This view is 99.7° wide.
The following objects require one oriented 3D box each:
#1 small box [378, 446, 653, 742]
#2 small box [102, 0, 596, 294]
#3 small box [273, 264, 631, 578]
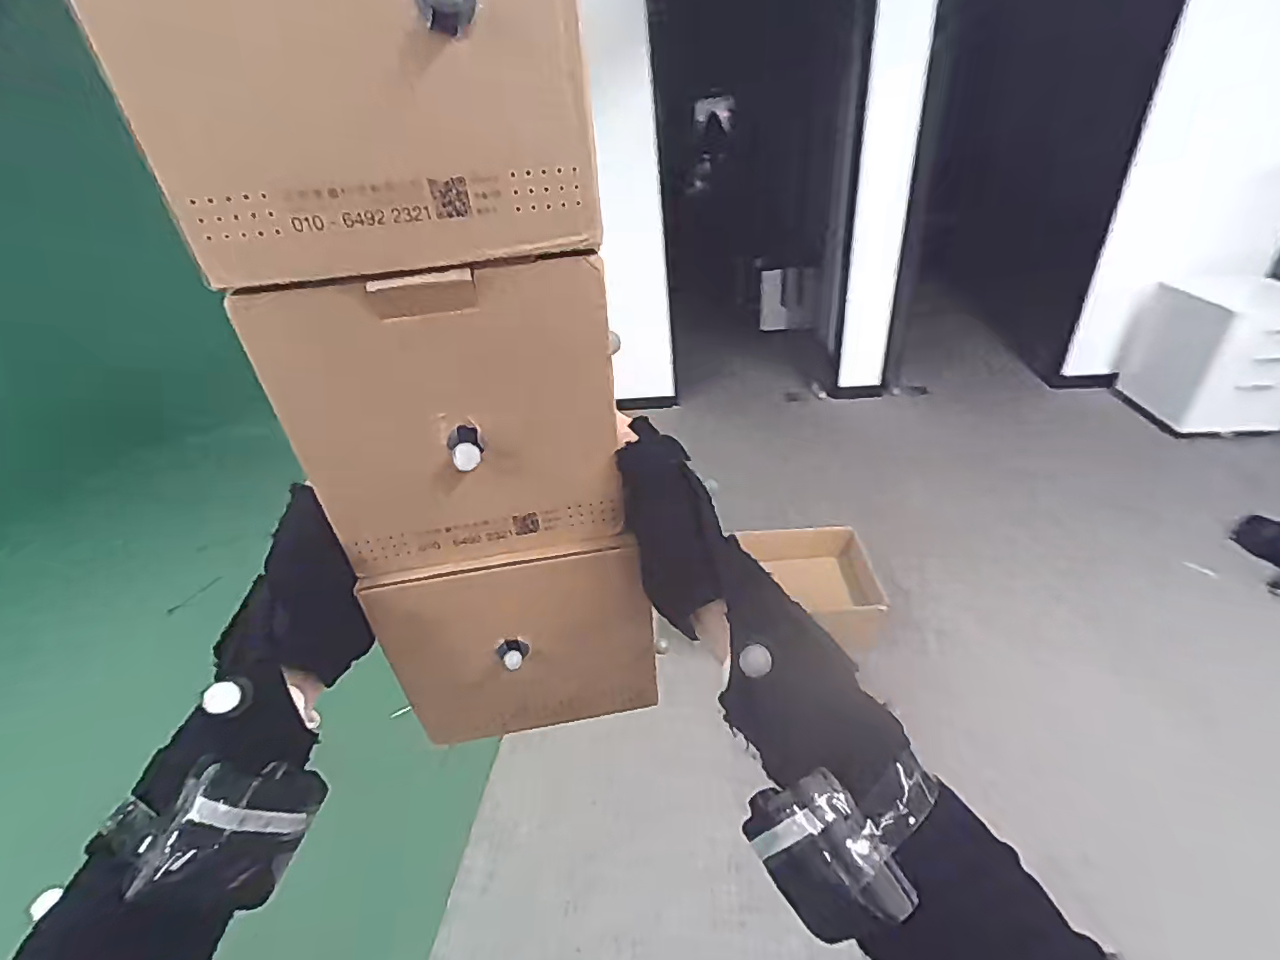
[{"bbox_3d":[-0.085,0.090,0.456,0.179,0.176,0.168,-8,33,-4],"label":"small box"},{"bbox_3d":[-0.118,-0.198,0.275,0.168,0.176,0.179,-8,33,-7],"label":"small box"},{"bbox_3d":[-0.106,-0.050,0.380,0.168,0.176,0.179,-11,34,-7],"label":"small box"}]
